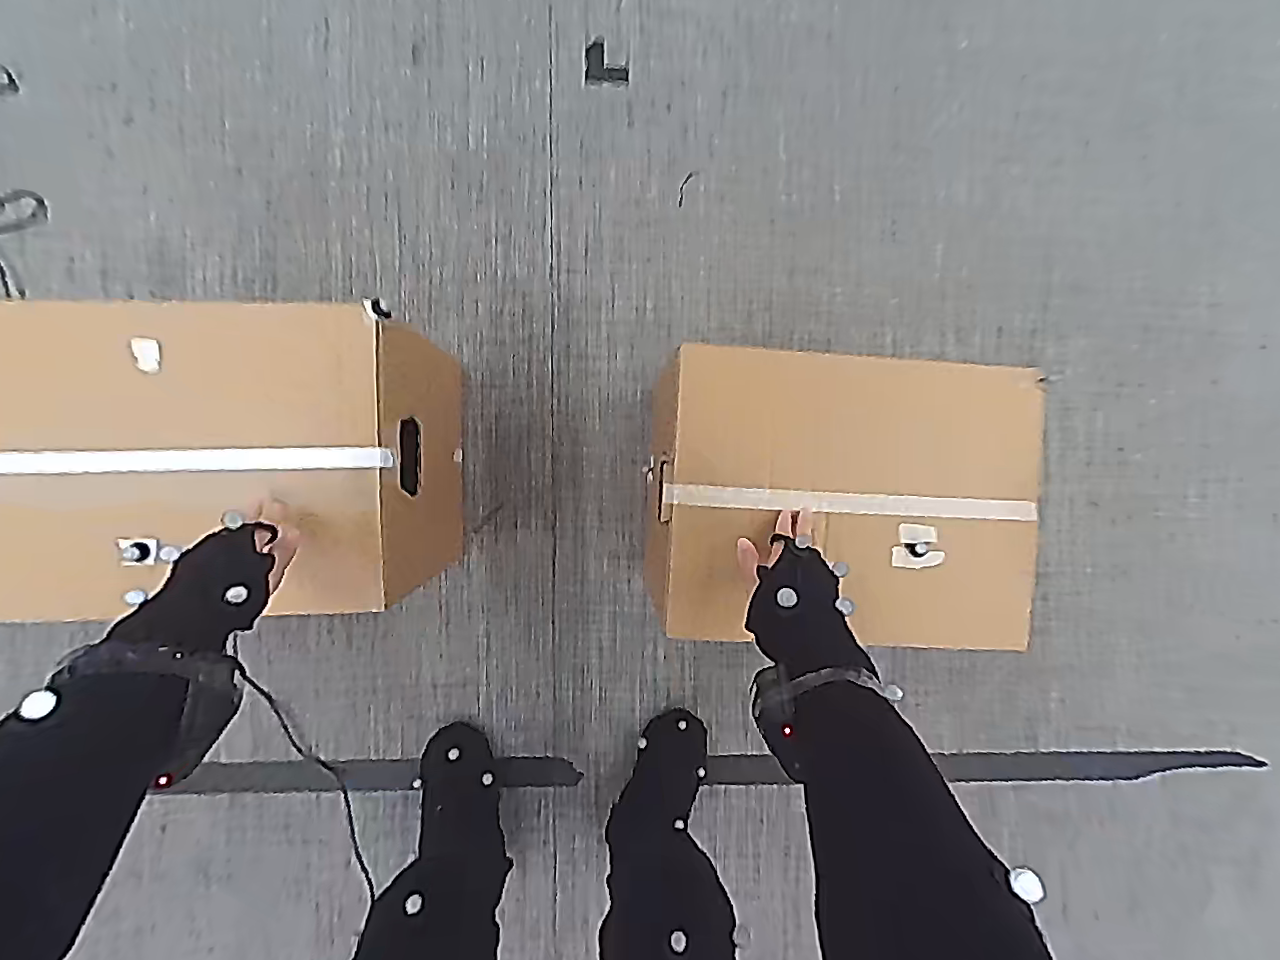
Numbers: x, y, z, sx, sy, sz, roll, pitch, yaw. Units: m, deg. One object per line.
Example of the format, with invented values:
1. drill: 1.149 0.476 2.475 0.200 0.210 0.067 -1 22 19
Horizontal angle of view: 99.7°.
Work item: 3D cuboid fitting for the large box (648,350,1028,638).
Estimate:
1. large box: 0.225 0.020 0.749 0.408 0.320 0.320 3 91 -5
